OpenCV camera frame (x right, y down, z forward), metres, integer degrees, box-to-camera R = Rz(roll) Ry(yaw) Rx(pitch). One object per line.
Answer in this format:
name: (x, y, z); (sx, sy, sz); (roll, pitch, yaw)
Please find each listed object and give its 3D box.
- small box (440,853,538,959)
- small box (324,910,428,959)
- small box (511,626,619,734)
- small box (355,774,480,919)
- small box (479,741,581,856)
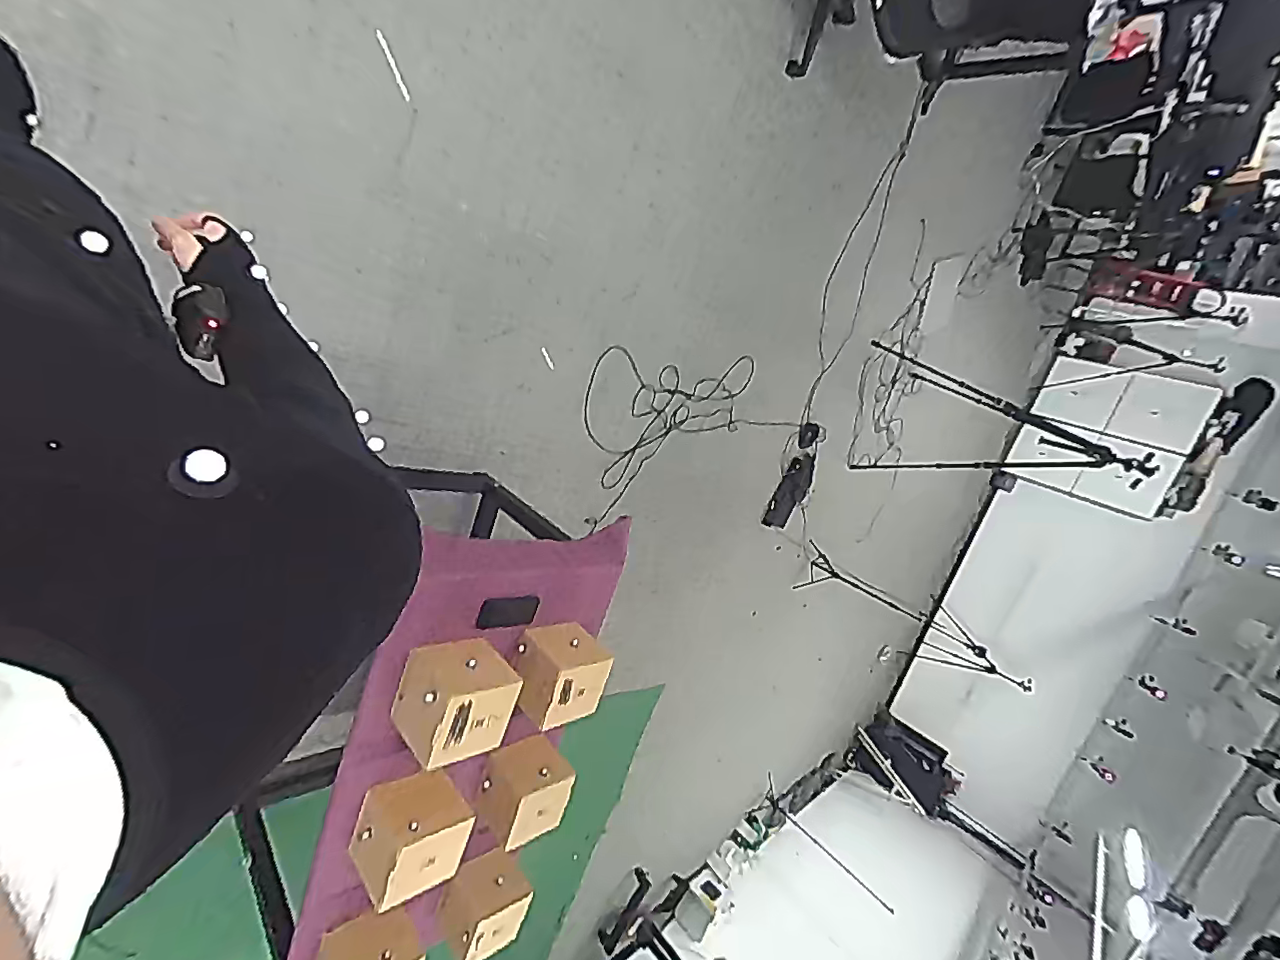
small box: (-0.417, 1.181, 1.486); (0.179, 0.176, 0.168); (9, 104, -49)
small box: (-0.618, 1.154, 1.252); (0.179, 0.176, 0.168); (6, 106, -48)
small box: (-0.188, 0.480, 1.324); (0.179, 0.176, 0.168); (6, 107, -49)
small box: (-0.488, 0.785, 1.183); (0.179, 0.176, 0.168); (9, 105, -50)
small box: (-0.290, 0.820, 1.415); (0.179, 0.176, 0.168); (7, 106, -47)
